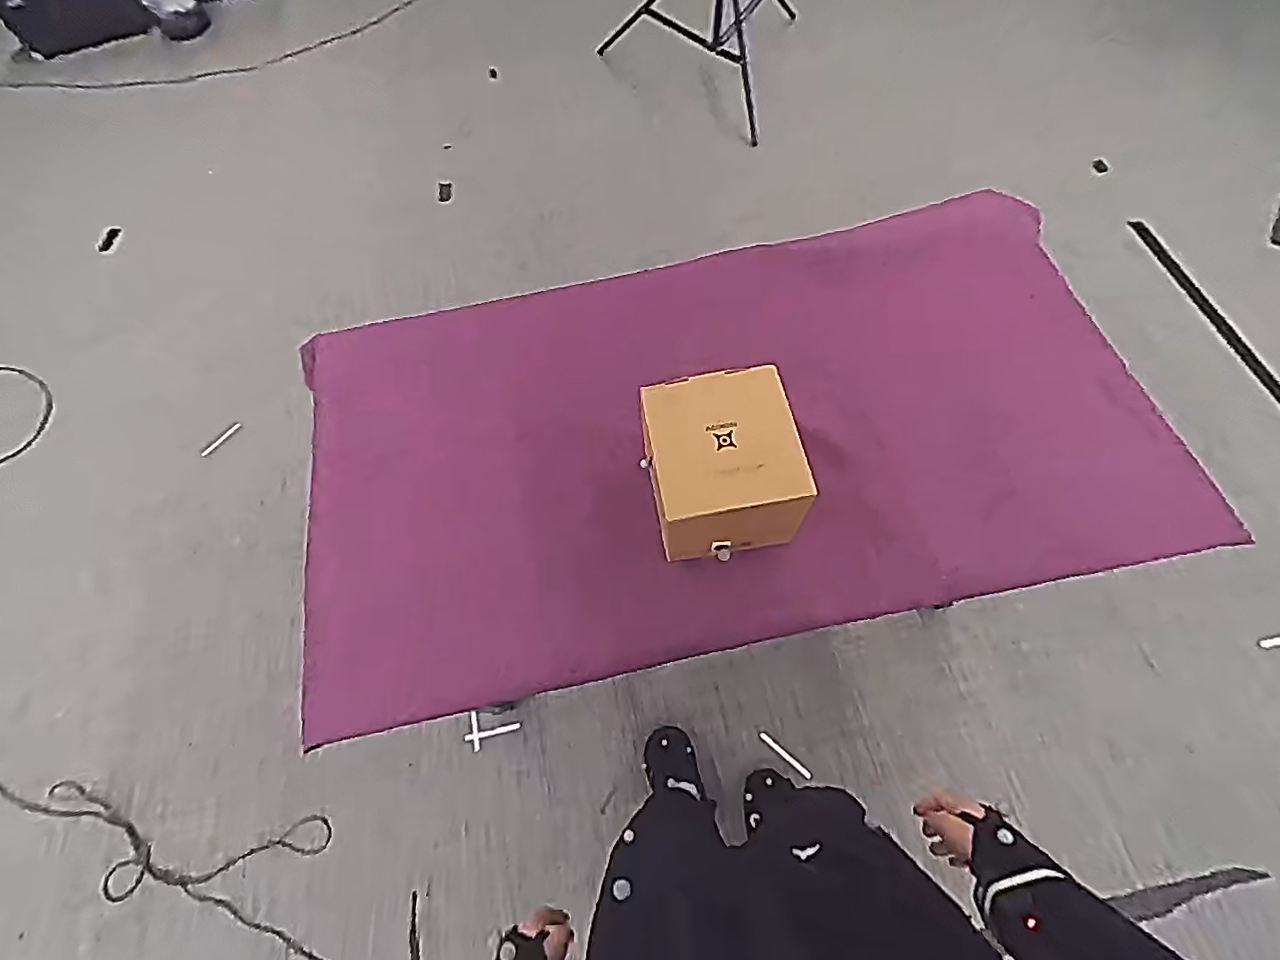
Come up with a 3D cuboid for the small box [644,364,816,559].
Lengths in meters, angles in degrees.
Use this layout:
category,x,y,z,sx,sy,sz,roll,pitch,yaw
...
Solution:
category,x,y,z,sx,sy,sz,roll,pitch,yaw
small box,0.099,-0.016,0.683,0.168,0.176,0.179,-10,66,-1
